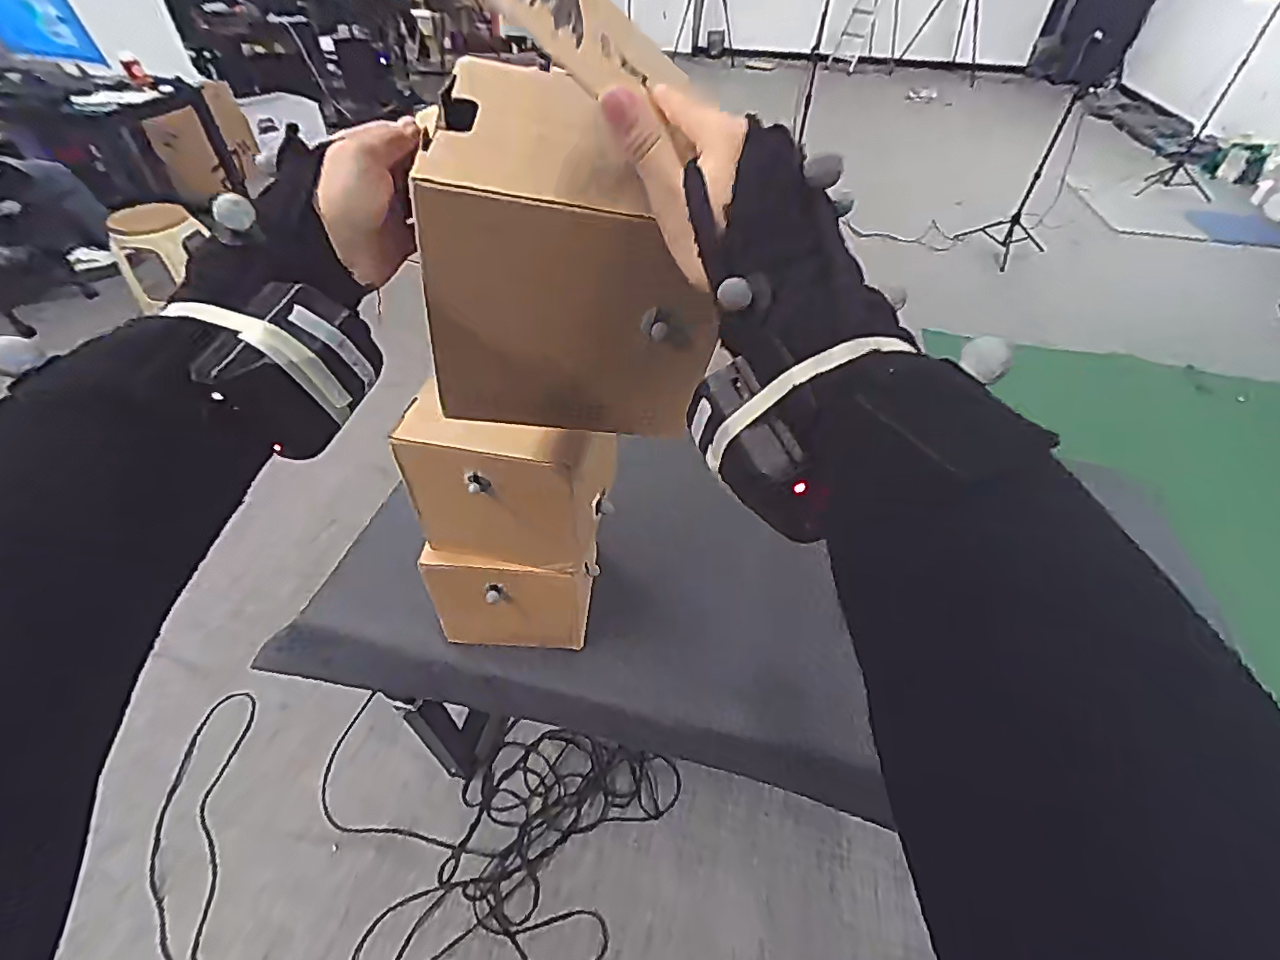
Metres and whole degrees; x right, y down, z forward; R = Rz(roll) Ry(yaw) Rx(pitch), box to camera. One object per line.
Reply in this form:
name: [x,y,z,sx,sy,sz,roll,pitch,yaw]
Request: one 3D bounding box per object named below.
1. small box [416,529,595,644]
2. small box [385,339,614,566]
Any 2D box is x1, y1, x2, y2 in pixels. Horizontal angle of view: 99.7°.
small box: [-0.152,0.093,0.690,0.179,0.176,0.168,4,45,1]
small box: [-0.130,-0.027,0.581,0.179,0.176,0.168,10,47,6]
